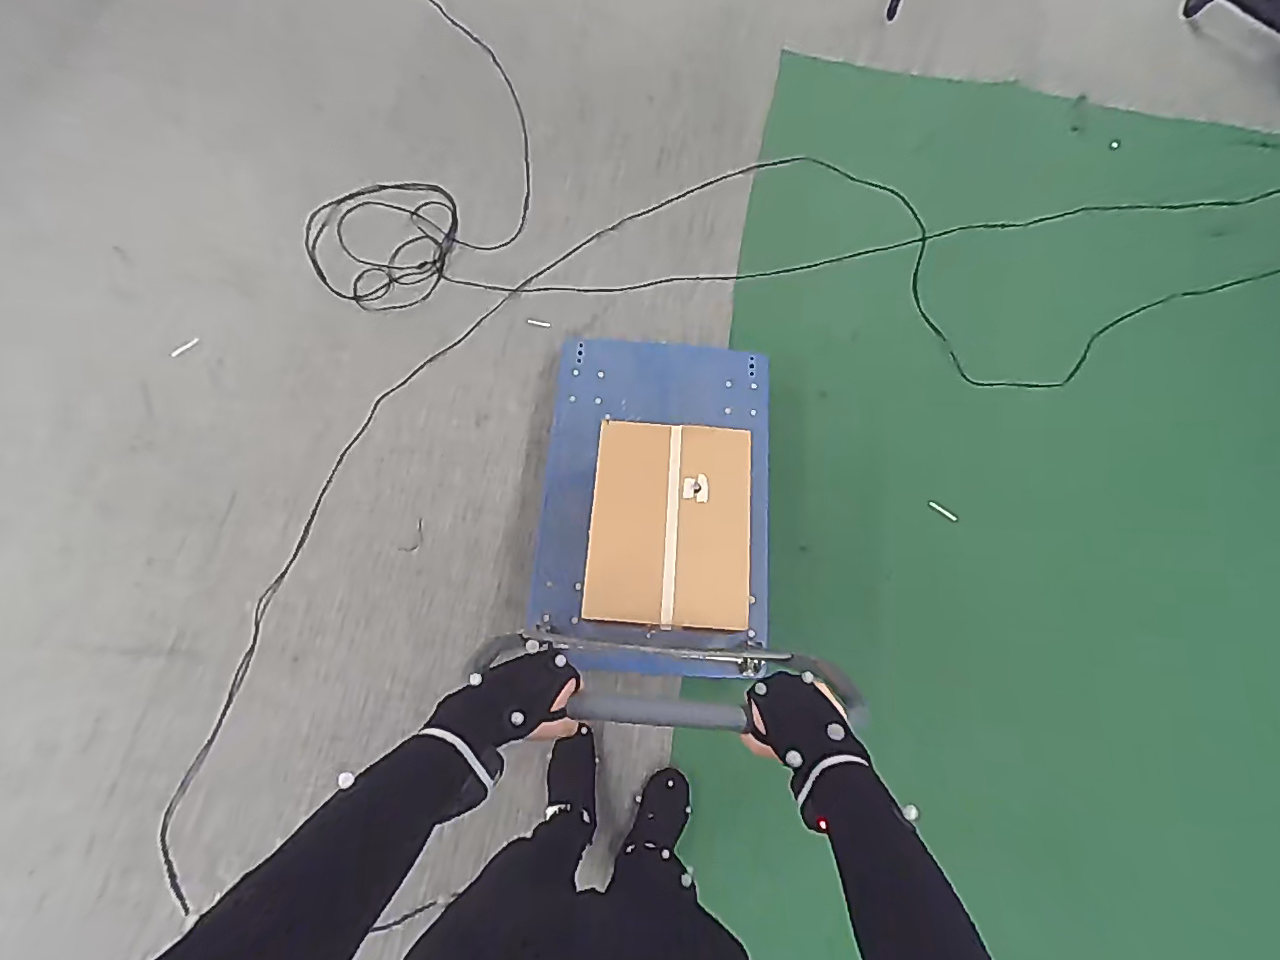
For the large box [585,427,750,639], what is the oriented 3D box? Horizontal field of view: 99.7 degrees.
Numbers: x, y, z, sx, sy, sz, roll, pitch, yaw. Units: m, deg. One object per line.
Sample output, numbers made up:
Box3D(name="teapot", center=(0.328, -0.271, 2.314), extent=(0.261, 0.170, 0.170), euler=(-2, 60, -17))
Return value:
Box3D(name="large box", center=(0.059, 0.135, 1.204), extent=(0.320, 0.320, 0.408), euler=(5, 71, -1))
